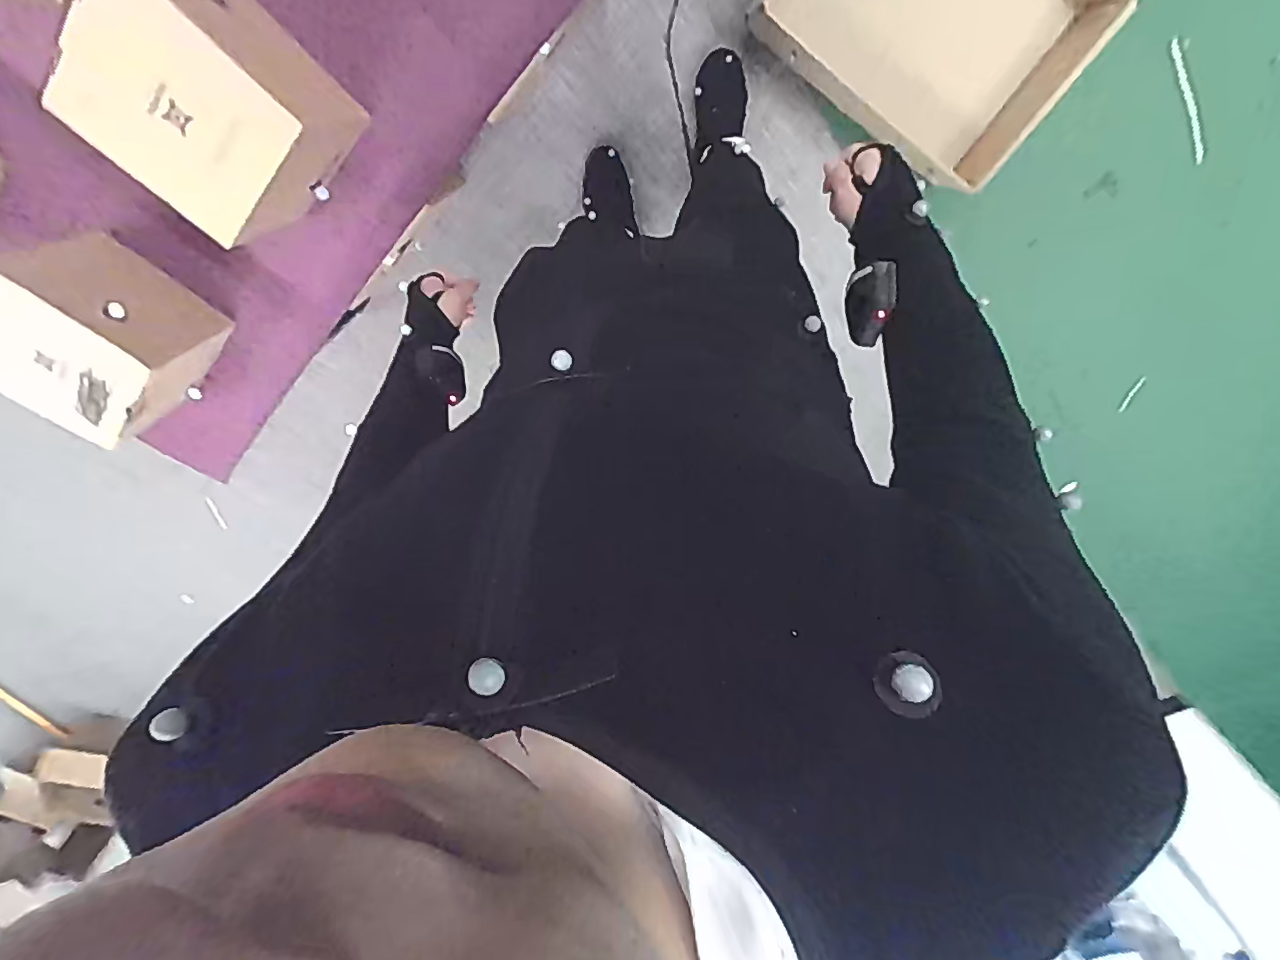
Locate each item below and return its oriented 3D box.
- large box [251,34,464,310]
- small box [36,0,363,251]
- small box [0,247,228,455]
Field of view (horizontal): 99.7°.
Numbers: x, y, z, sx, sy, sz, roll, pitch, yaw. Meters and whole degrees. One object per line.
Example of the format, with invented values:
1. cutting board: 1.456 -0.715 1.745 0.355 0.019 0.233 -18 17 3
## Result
1. large box: -0.666 -0.658 1.175 0.320 0.320 0.408 -38 117 23
2. small box: -0.436 -0.380 0.565 0.168 0.176 0.179 -36 119 23
3. small box: -0.698 -0.173 0.707 0.168 0.176 0.179 -39 116 23
